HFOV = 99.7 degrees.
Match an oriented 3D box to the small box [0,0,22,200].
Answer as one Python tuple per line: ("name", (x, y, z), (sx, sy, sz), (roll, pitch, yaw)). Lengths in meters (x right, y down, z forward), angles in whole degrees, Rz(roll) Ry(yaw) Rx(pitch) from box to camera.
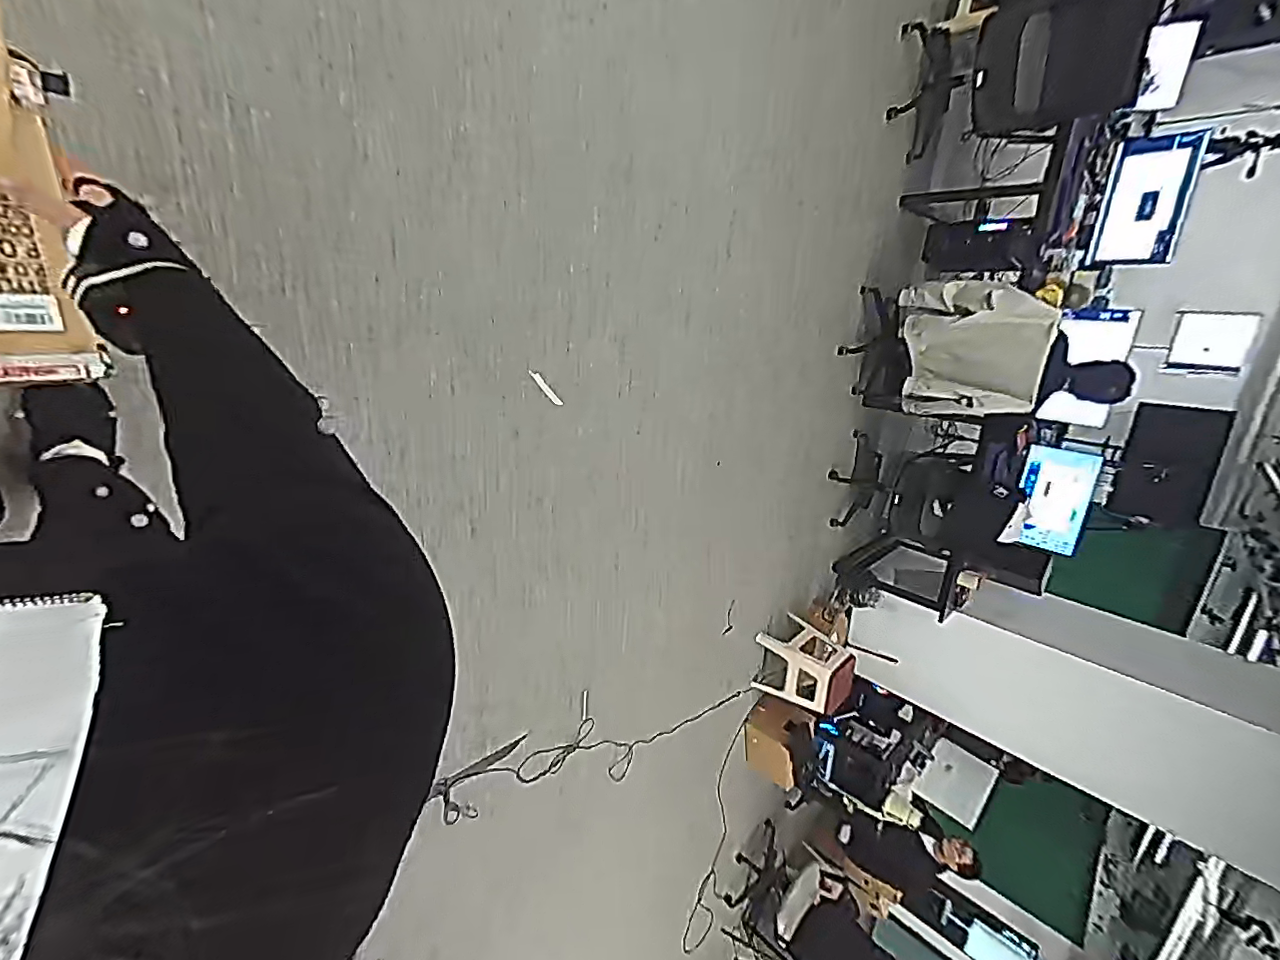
("small box", (-0.640, -0.348, 0.441), (0.168, 0.176, 0.179), (-7, 112, -49))
